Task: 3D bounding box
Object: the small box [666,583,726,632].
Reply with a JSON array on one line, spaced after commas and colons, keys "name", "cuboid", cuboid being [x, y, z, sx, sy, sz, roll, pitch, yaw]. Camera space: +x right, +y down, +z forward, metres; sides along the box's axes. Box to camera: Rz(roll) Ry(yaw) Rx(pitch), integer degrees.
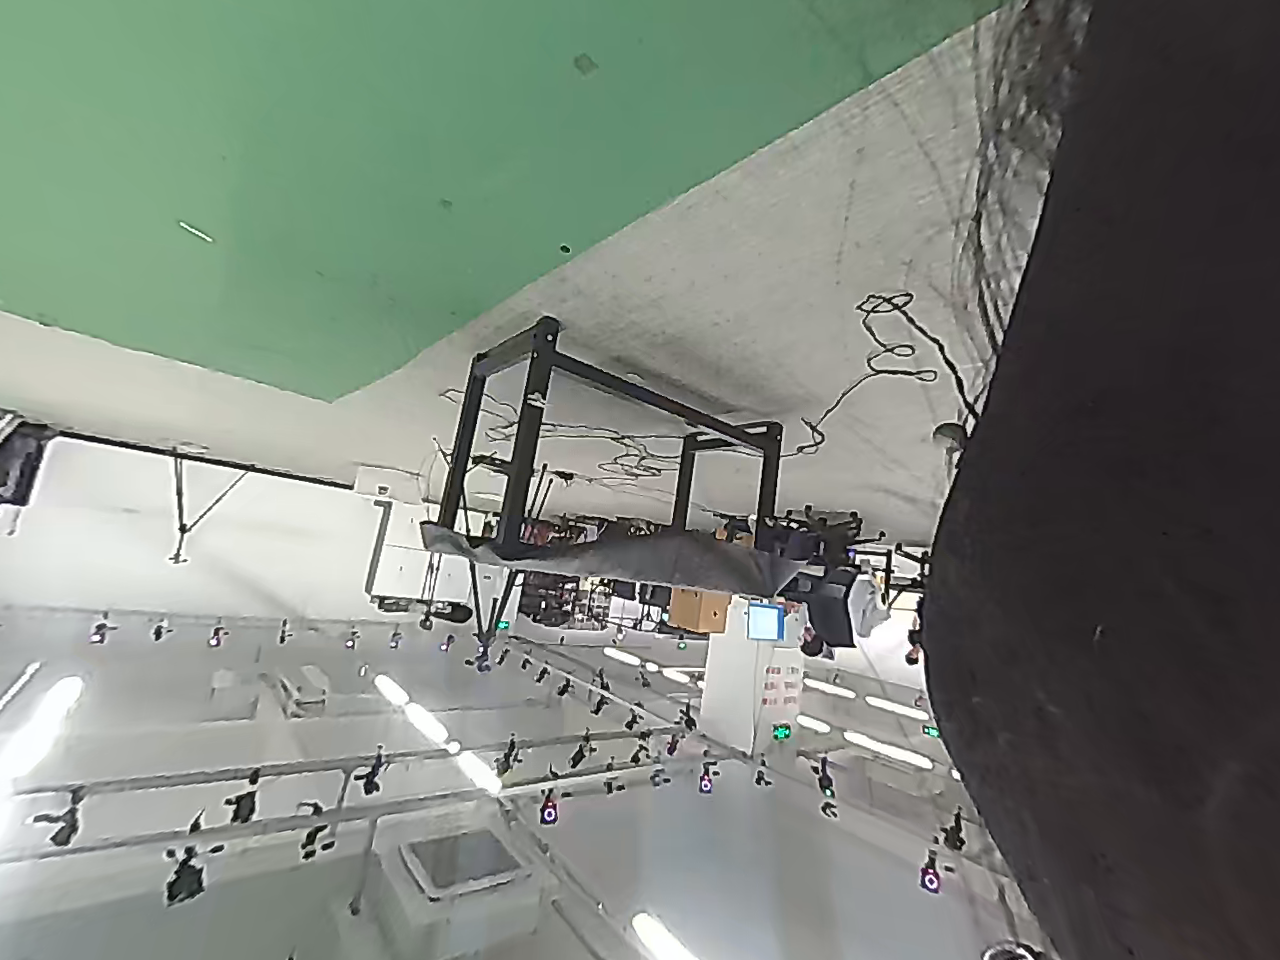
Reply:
[{"name": "small box", "cuboid": [0.230, 0.515, 2.200, 0.179, 0.176, 0.168, 16, 168, -41]}]
